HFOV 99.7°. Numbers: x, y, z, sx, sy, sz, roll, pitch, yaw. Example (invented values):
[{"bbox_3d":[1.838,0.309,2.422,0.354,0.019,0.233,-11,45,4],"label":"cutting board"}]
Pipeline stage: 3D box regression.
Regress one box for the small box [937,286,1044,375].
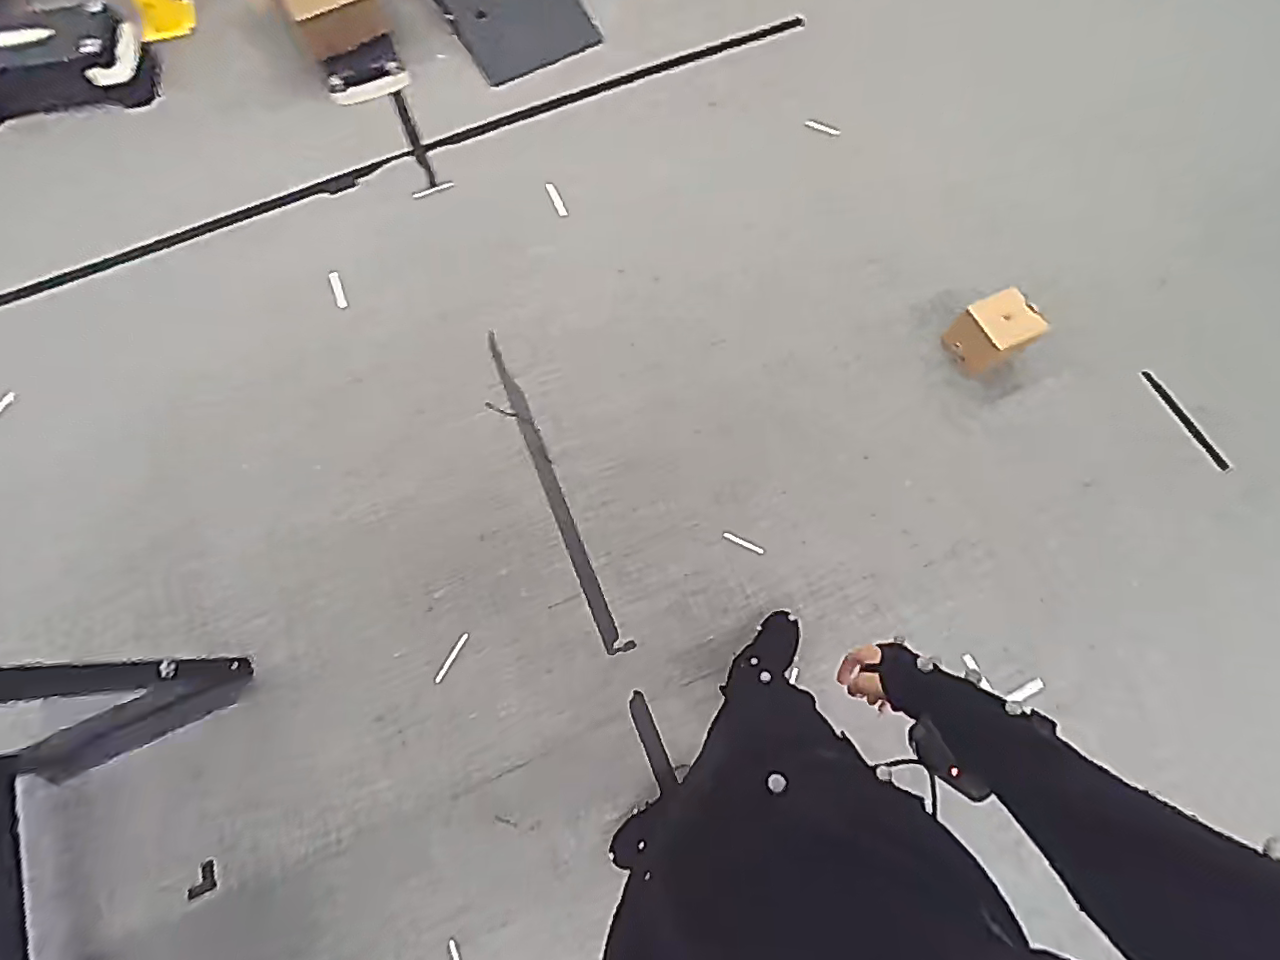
[{"bbox_3d":[1.053,-0.449,1.642,0.179,0.176,0.168,-23,72,-7],"label":"small box"}]
